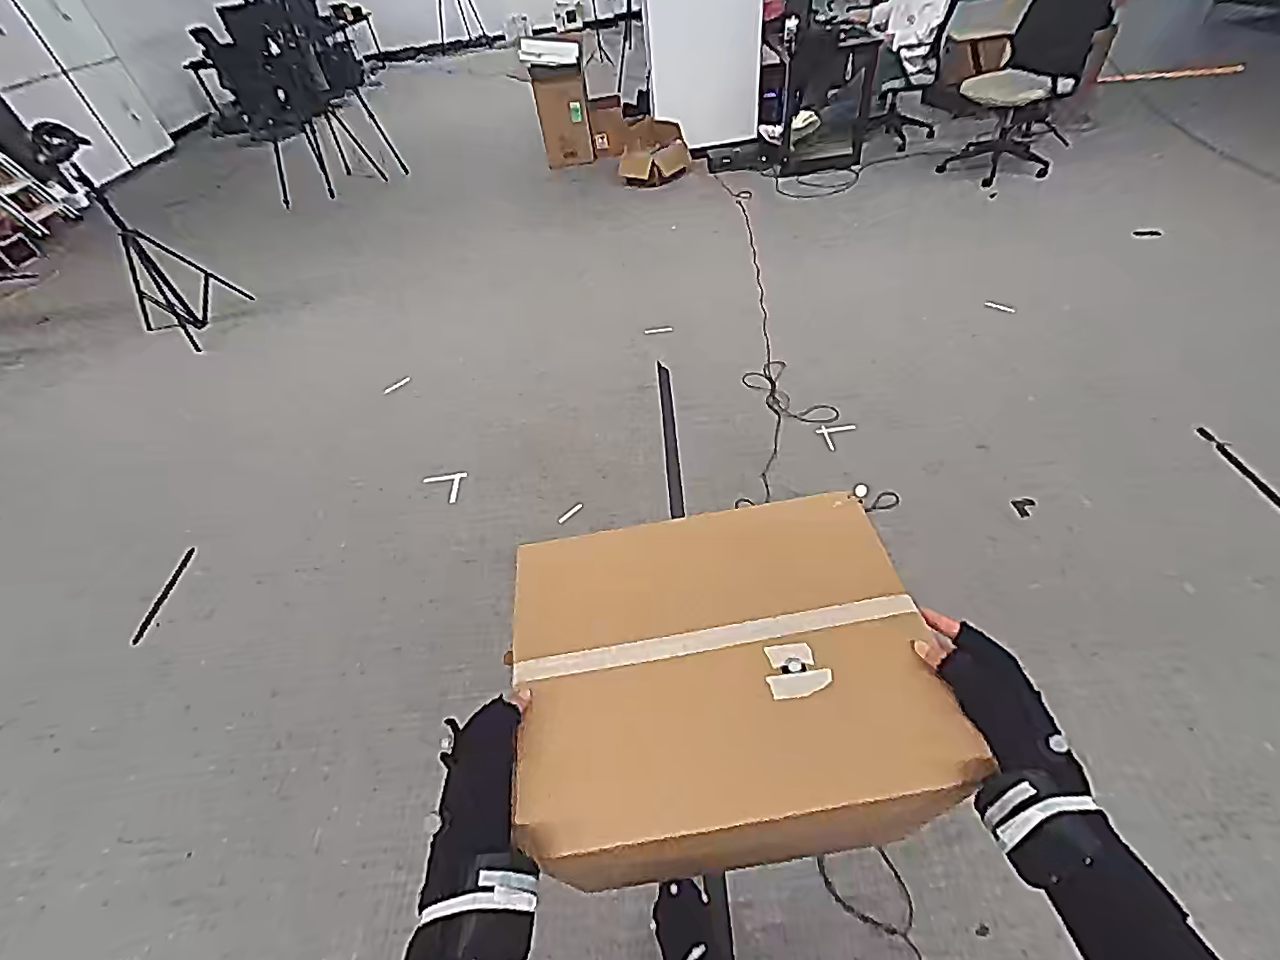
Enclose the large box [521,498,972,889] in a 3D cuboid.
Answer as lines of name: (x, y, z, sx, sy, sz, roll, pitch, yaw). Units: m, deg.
large box: (0.087, 0.266, 0.669, 0.408, 0.320, 0.320, -10, 49, -1)
